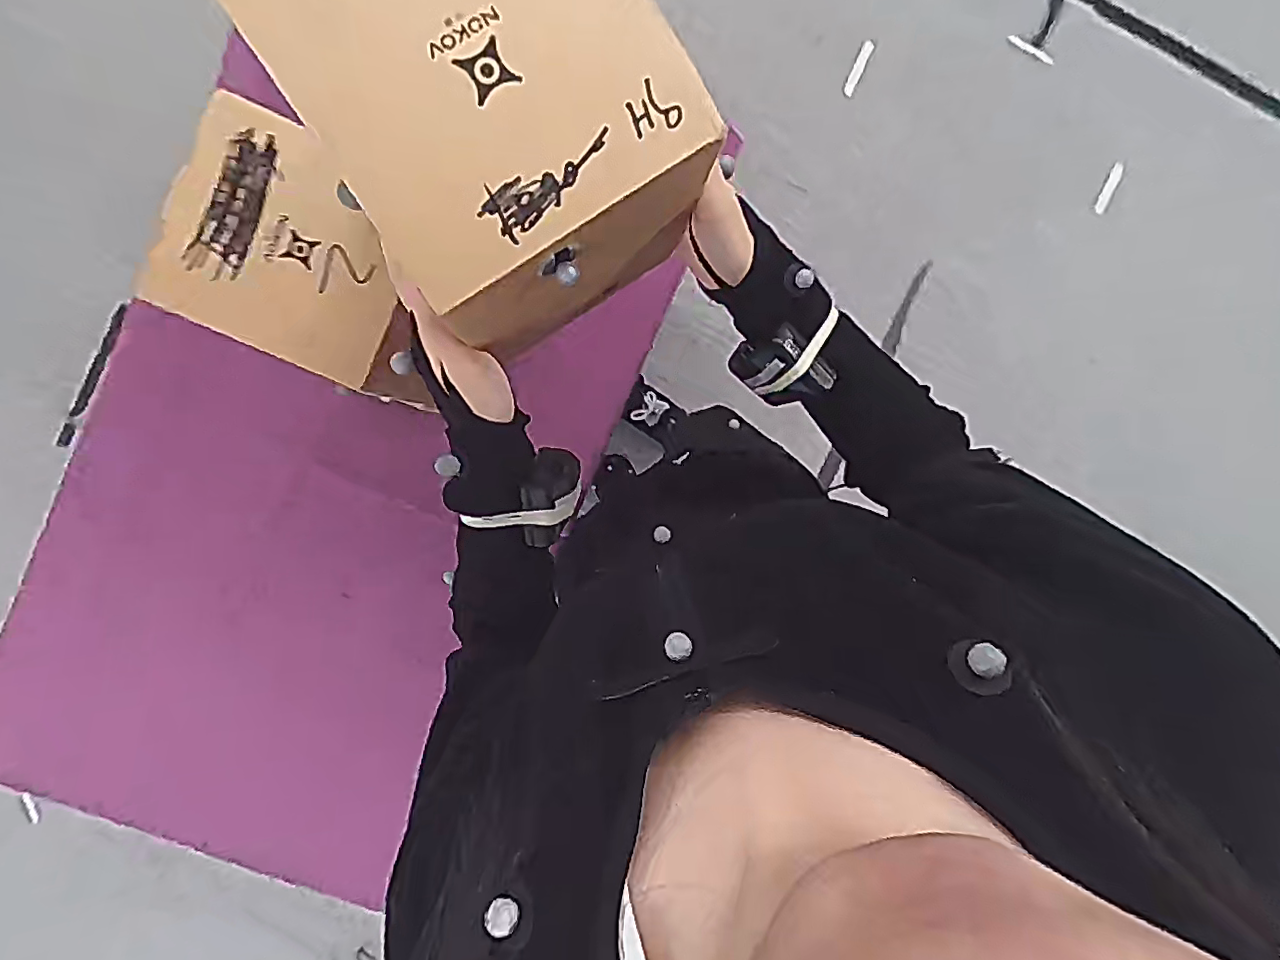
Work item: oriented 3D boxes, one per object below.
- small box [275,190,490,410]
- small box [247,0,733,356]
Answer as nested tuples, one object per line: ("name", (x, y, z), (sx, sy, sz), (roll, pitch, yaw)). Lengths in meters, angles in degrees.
("small box", (-0.279, -0.195, 0.645), (0.168, 0.176, 0.179), (23, 93, -5))
("small box", (-0.076, -0.198, 0.322), (0.168, 0.176, 0.179), (-33, 95, -3))
